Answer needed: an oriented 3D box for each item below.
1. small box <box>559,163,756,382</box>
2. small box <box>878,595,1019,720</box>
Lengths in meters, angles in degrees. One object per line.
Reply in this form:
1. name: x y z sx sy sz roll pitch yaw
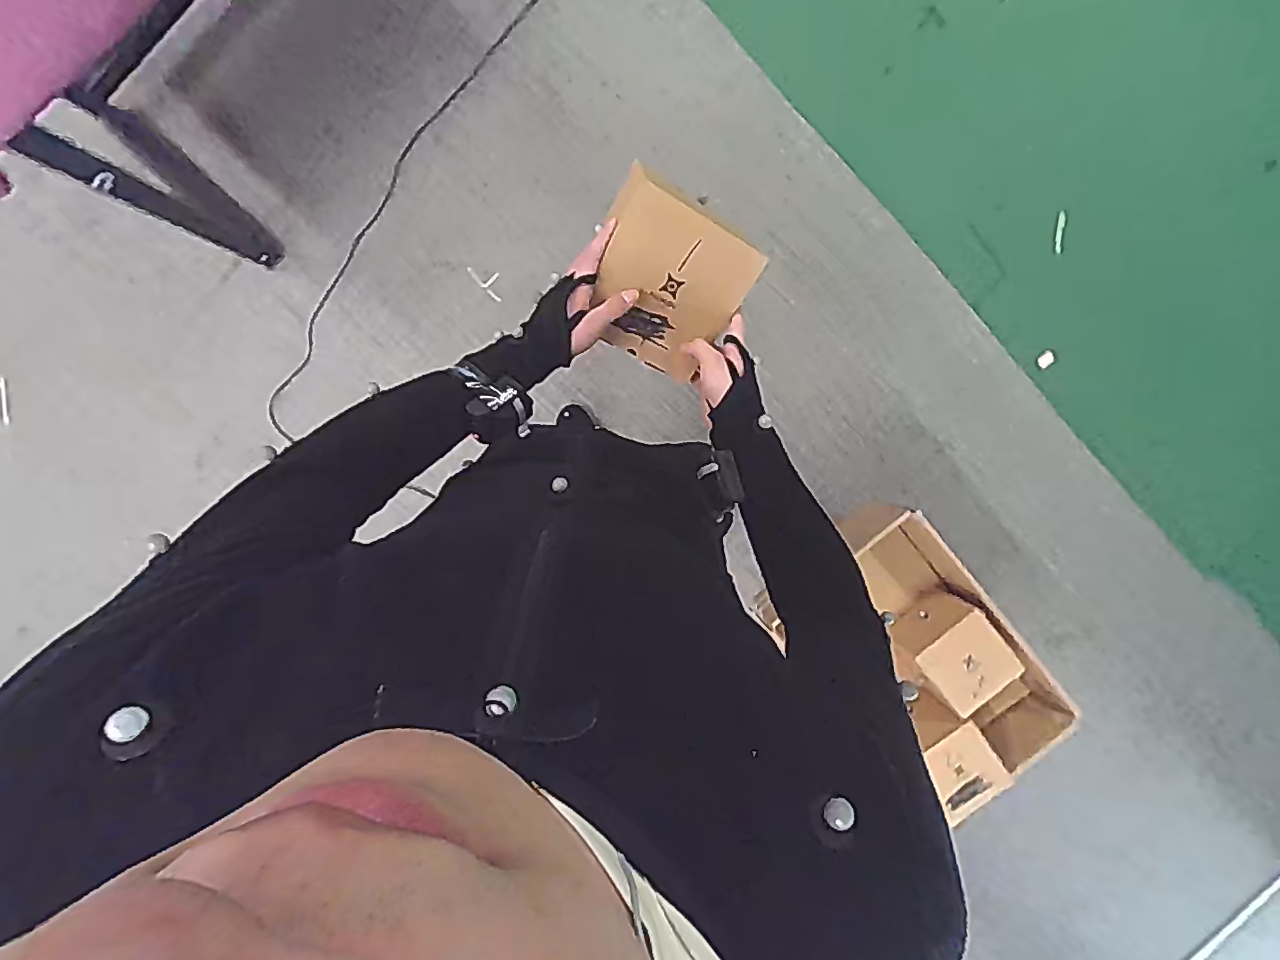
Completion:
1. small box: 0.014 -0.260 0.674 0.168 0.176 0.179 22 121 -20
2. small box: 0.663 0.374 1.186 0.168 0.176 0.179 -39 96 3
